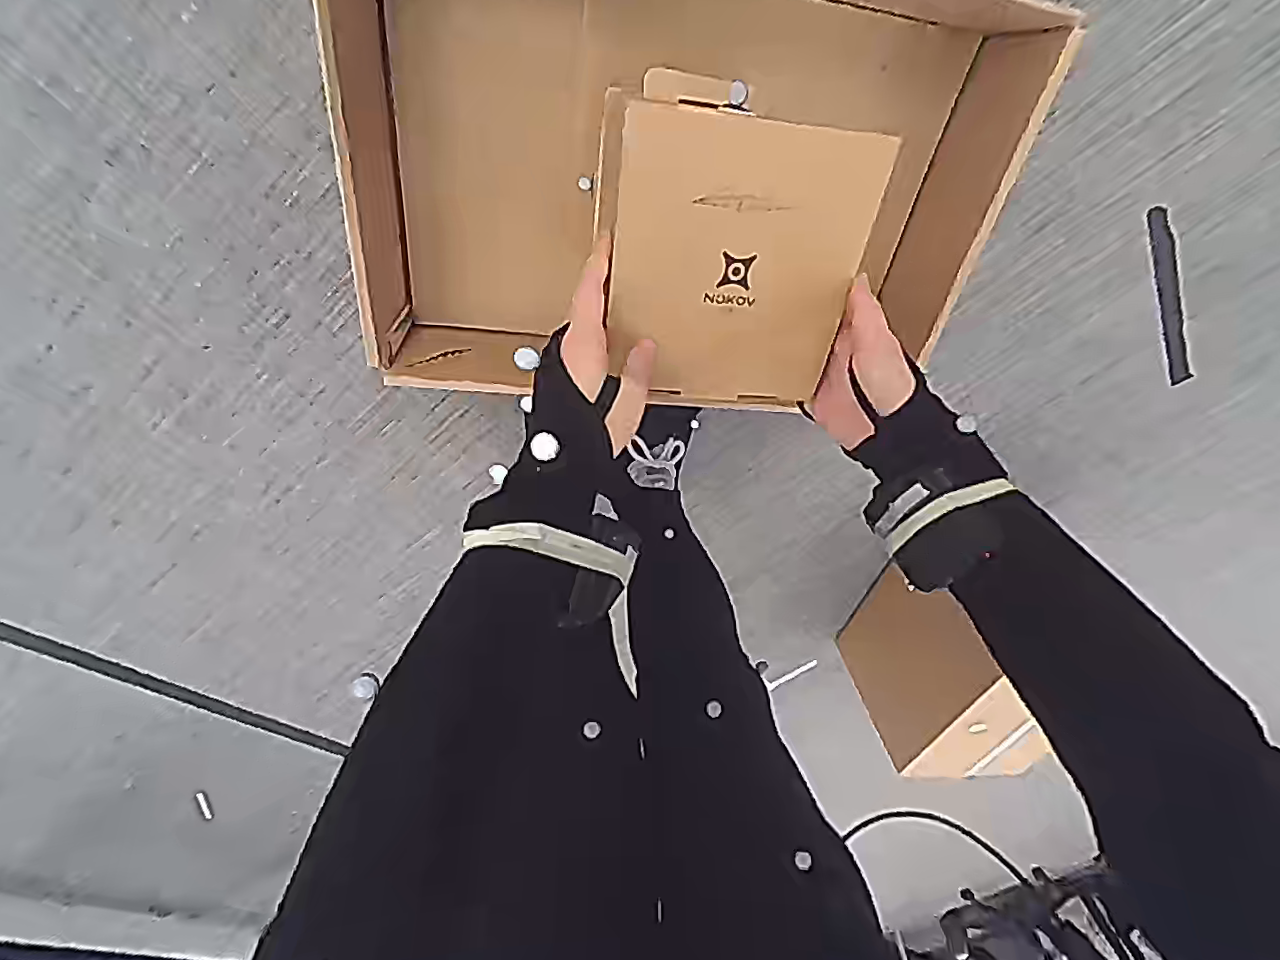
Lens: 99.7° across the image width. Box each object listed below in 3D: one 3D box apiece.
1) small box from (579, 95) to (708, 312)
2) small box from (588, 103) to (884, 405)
[{"bbox_3d":[0.028,-0.274,0.549,0.168,0.176,0.179,2,127,-11],"label":"small box"},{"bbox_3d":[0.048,-0.176,0.419,0.168,0.176,0.179,0,126,-9],"label":"small box"}]
